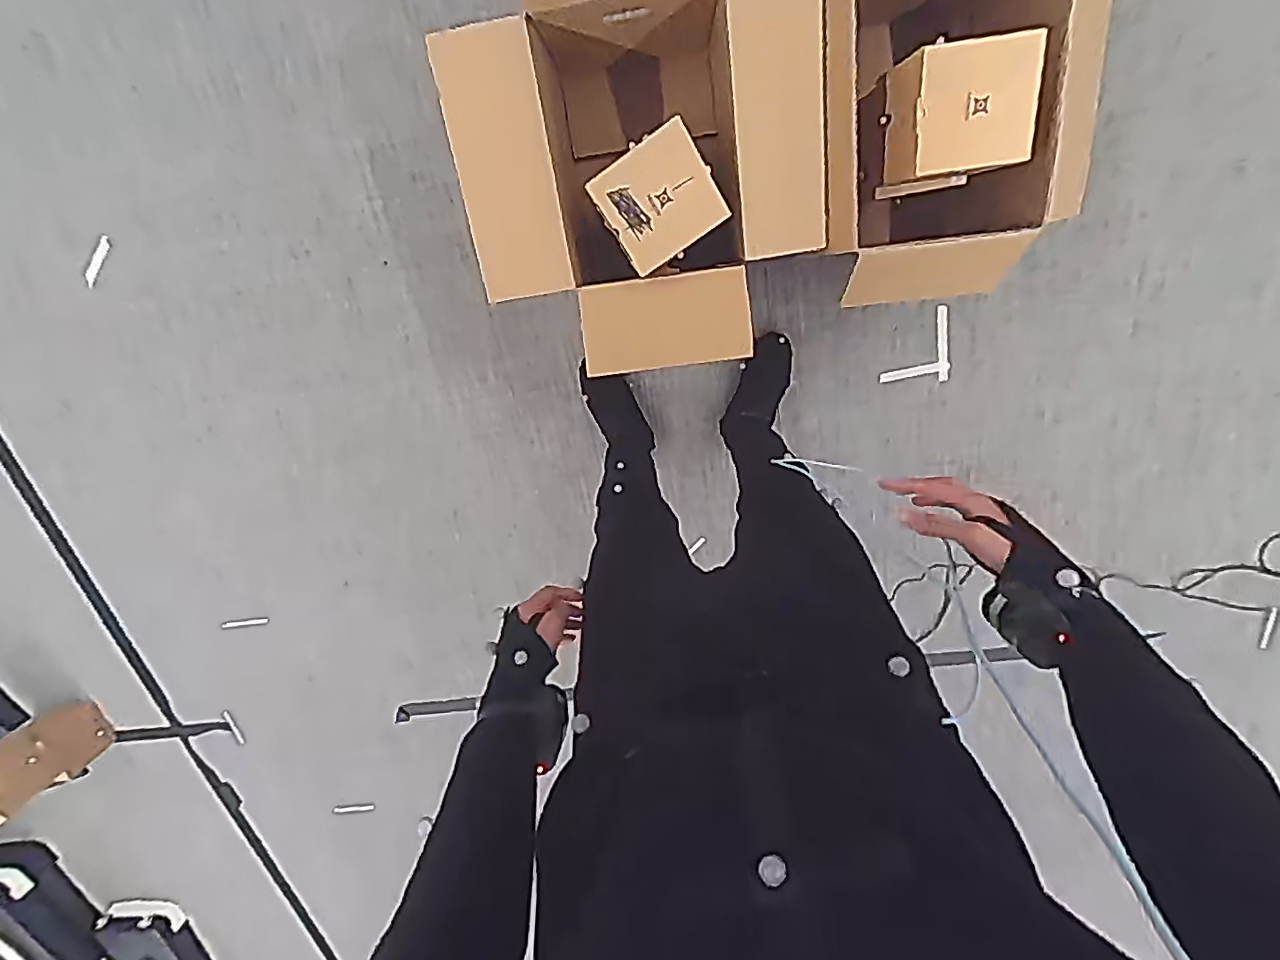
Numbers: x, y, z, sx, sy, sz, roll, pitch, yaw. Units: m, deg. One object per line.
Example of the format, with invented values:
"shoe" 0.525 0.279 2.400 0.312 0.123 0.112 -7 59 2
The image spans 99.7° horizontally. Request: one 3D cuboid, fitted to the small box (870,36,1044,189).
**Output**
"small box" 0.494 -0.576 0.869 0.179 0.176 0.168 -6 113 4
